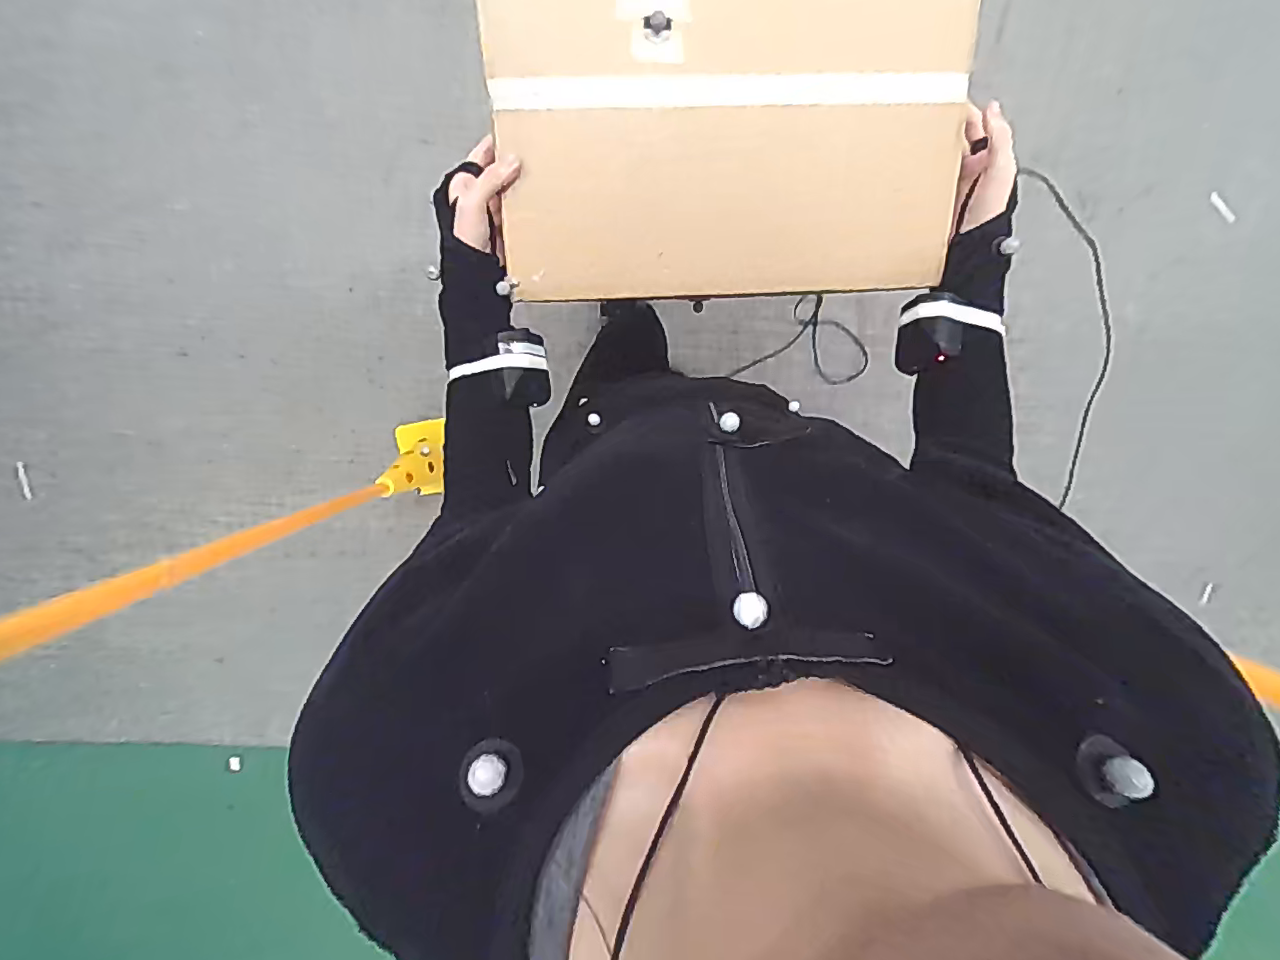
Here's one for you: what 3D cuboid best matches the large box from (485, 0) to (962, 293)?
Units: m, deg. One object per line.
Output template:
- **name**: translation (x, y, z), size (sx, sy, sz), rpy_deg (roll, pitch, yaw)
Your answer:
- **large box**: translation (0.067, -0.382, 0.605), size (0.408, 0.320, 0.320), rpy_deg (-4, 107, -3)
